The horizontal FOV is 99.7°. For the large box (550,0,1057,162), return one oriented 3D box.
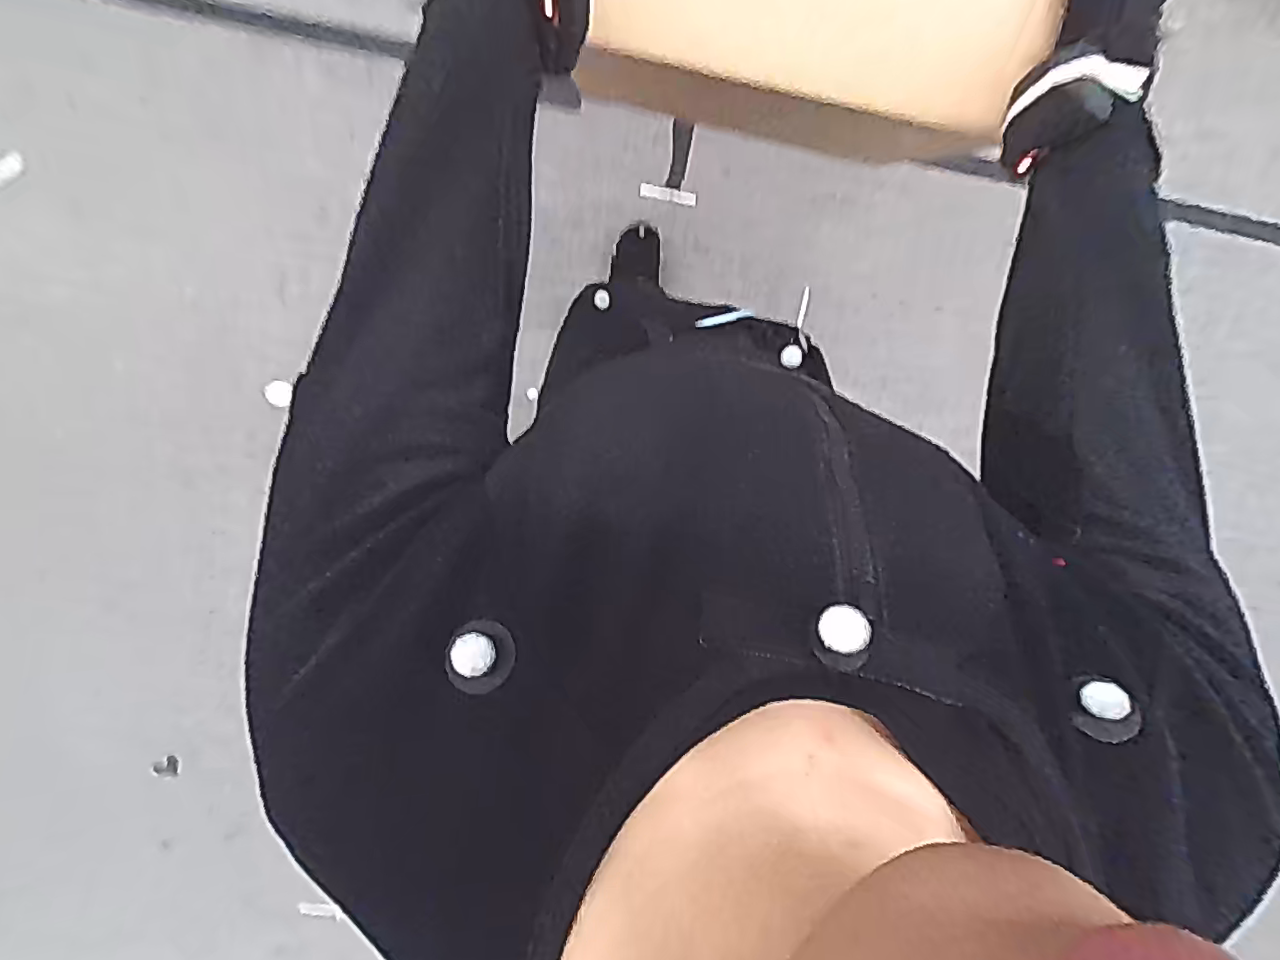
[{"bbox_3d":[0.145,-0.529,0.519,0.408,0.320,0.320,10,118,-5],"label":"large box"}]
